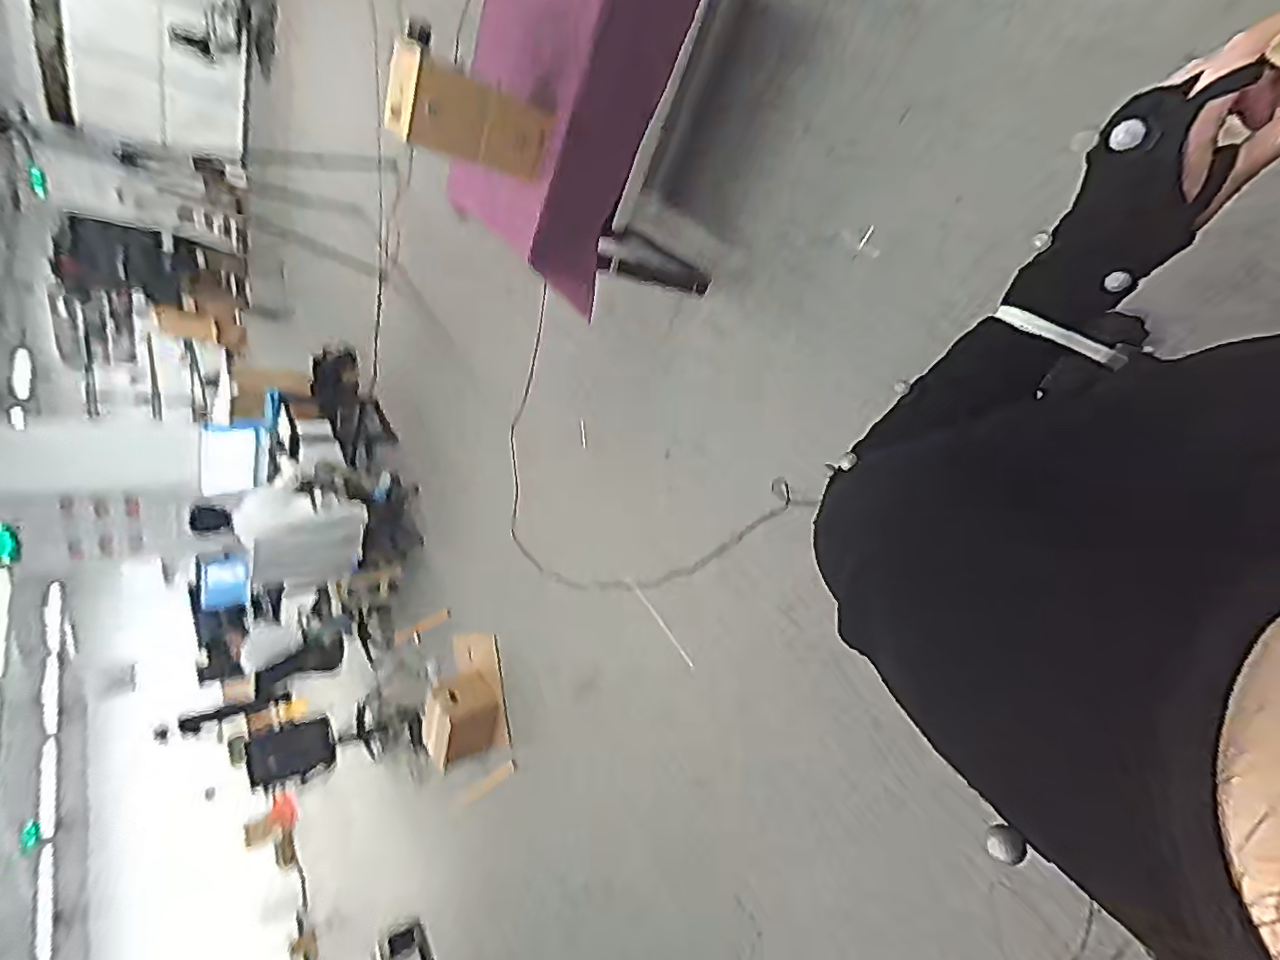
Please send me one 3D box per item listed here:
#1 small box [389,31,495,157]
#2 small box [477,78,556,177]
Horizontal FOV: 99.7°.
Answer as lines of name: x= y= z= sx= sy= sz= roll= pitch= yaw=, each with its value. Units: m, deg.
small box: x=-0.455 y=-0.878 z=1.244 sx=0.168 sy=0.176 sz=0.179 roll=48 pitch=124 yaw=33
small box: x=-0.334 y=-0.888 z=1.356 sx=0.179 sy=0.176 sz=0.168 roll=49 pitch=125 yaw=34
